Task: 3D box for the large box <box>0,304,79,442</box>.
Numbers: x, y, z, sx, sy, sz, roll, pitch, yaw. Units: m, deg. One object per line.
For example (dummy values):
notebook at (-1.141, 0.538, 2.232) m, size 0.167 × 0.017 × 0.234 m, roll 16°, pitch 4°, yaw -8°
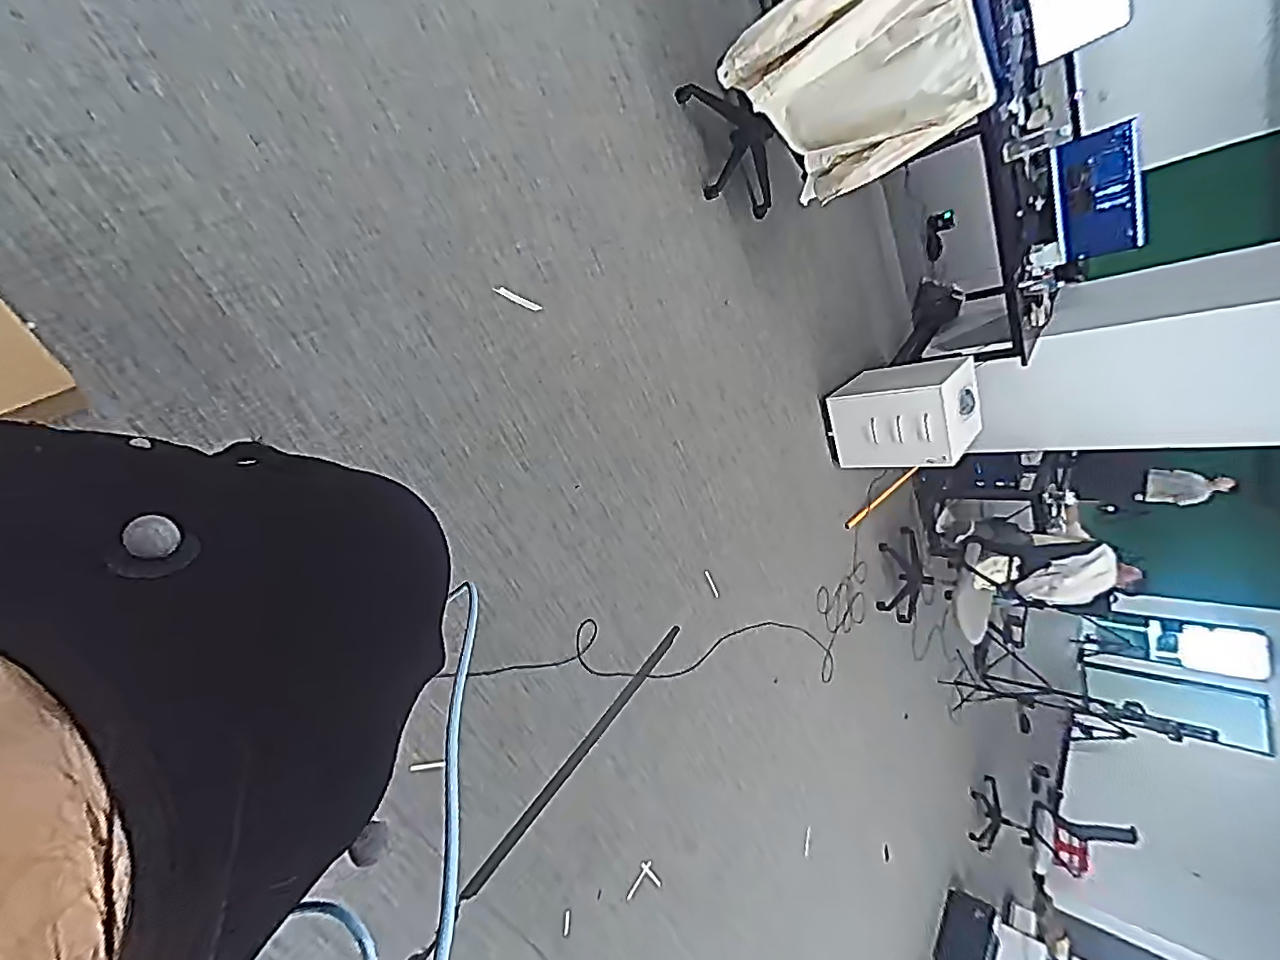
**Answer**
large box at (-1.096, -0.146, 0.709) m, size 0.408 × 0.320 × 0.320 m, roll -43°, pitch 119°, yaw -35°
